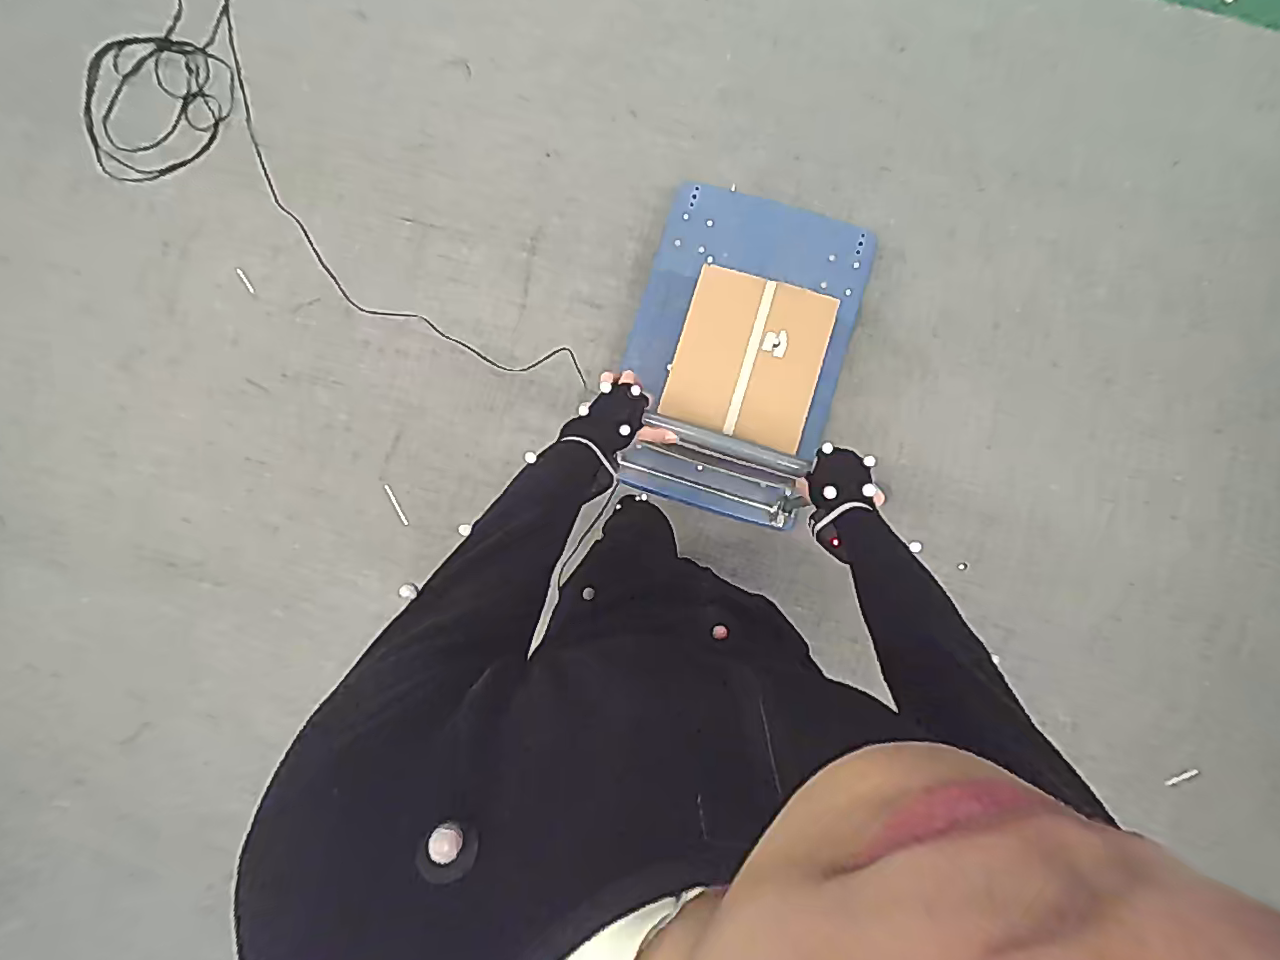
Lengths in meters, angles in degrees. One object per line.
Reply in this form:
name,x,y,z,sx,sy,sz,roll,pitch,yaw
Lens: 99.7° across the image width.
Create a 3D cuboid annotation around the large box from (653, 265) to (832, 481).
large box,0.231,-0.237,1.332,0.320,0.320,0.408,17,85,3
